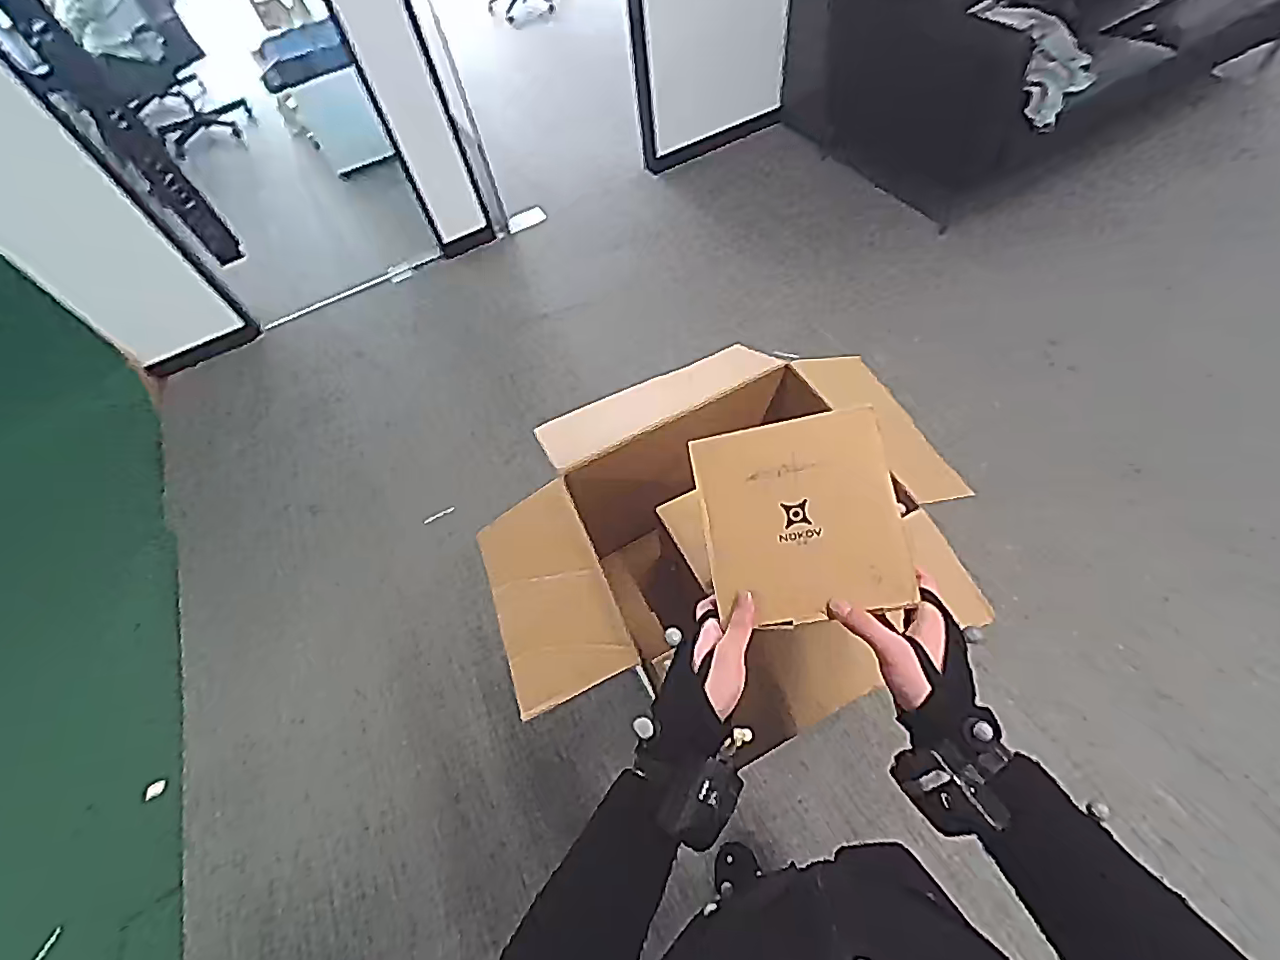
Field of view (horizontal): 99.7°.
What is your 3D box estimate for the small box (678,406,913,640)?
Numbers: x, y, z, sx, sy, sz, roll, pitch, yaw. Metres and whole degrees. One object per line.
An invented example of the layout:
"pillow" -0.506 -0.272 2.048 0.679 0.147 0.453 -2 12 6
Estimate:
"small box" 0.143 0.048 0.533 0.168 0.176 0.179 -12 77 10
